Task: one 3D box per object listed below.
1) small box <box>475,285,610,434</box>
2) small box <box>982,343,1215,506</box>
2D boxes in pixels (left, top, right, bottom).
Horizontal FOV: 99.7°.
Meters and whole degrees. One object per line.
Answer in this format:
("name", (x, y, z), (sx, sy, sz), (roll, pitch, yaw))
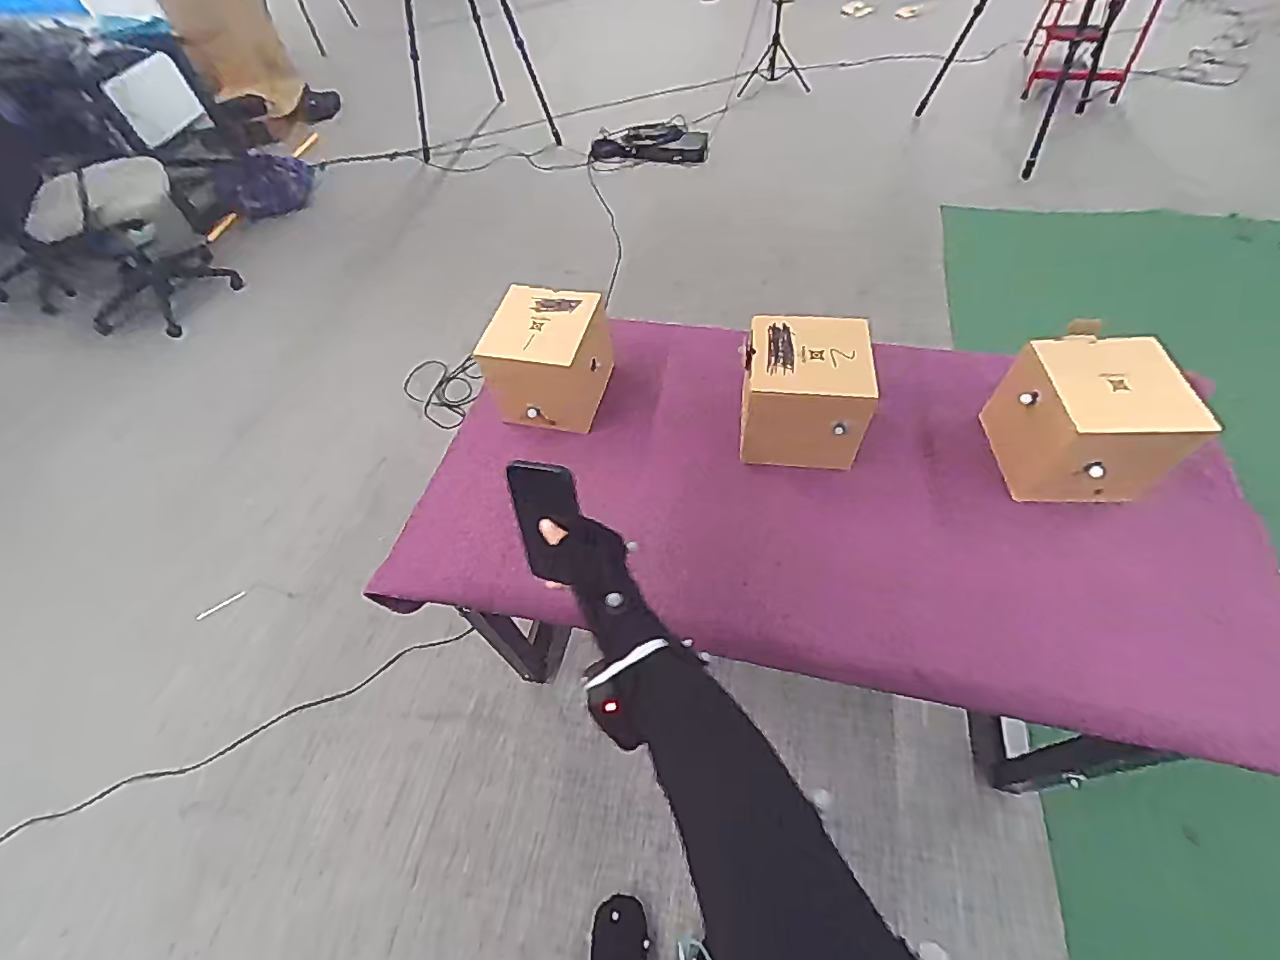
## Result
("small box", (-0.155, -0.207, 0.936), (0.168, 0.176, 0.179), (10, 58, 12))
("small box", (0.633, -0.074, 0.779), (0.168, 0.176, 0.179), (0, 54, 6))
